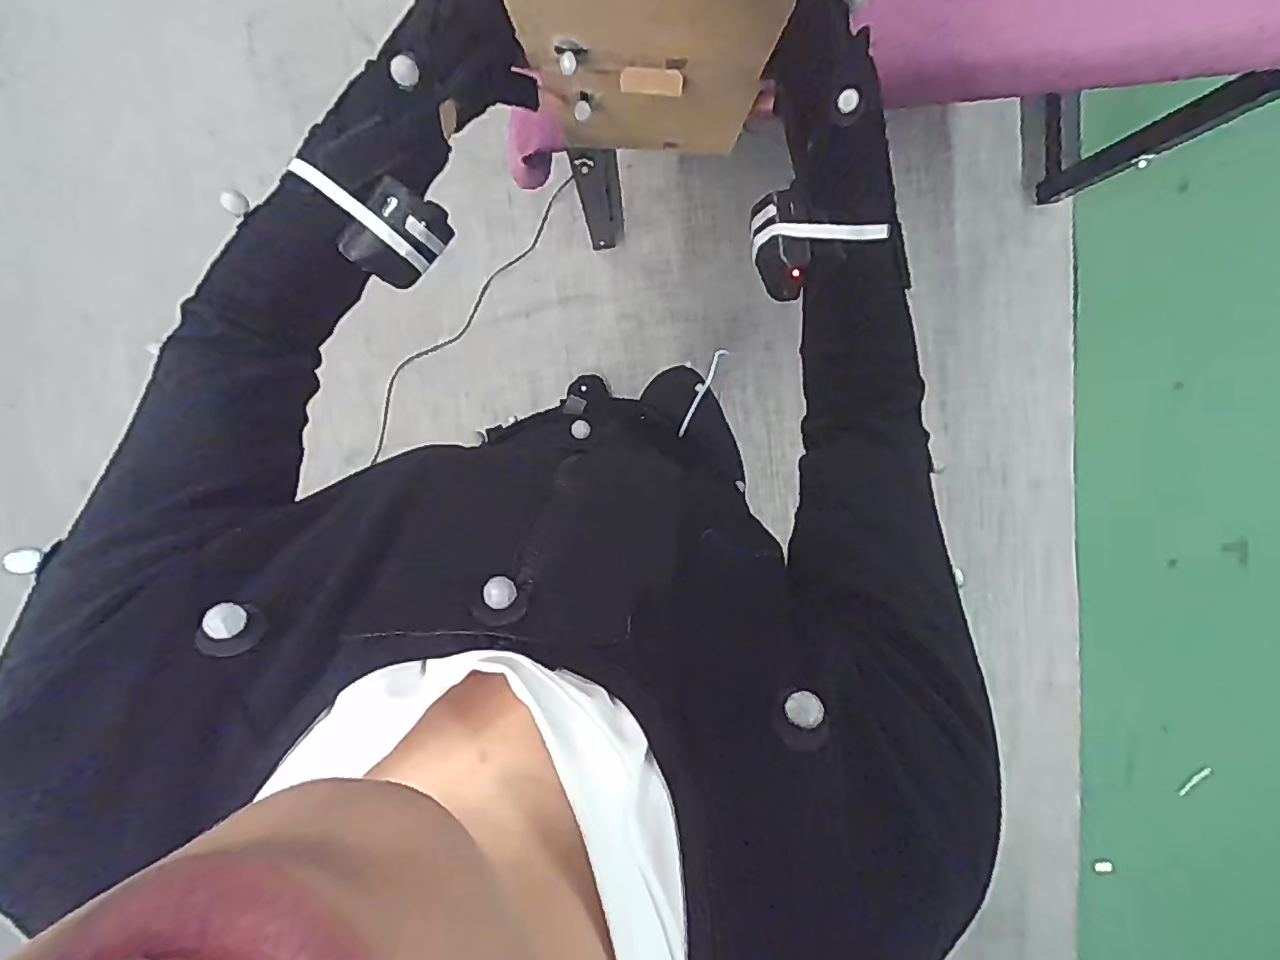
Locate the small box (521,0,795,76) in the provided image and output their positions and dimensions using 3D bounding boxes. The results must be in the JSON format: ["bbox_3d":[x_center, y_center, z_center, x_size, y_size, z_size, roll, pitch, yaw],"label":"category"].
[{"bbox_3d":[0.016,-0.347,0.278,0.168,0.176,0.179,6,106,-4],"label":"small box"}]
